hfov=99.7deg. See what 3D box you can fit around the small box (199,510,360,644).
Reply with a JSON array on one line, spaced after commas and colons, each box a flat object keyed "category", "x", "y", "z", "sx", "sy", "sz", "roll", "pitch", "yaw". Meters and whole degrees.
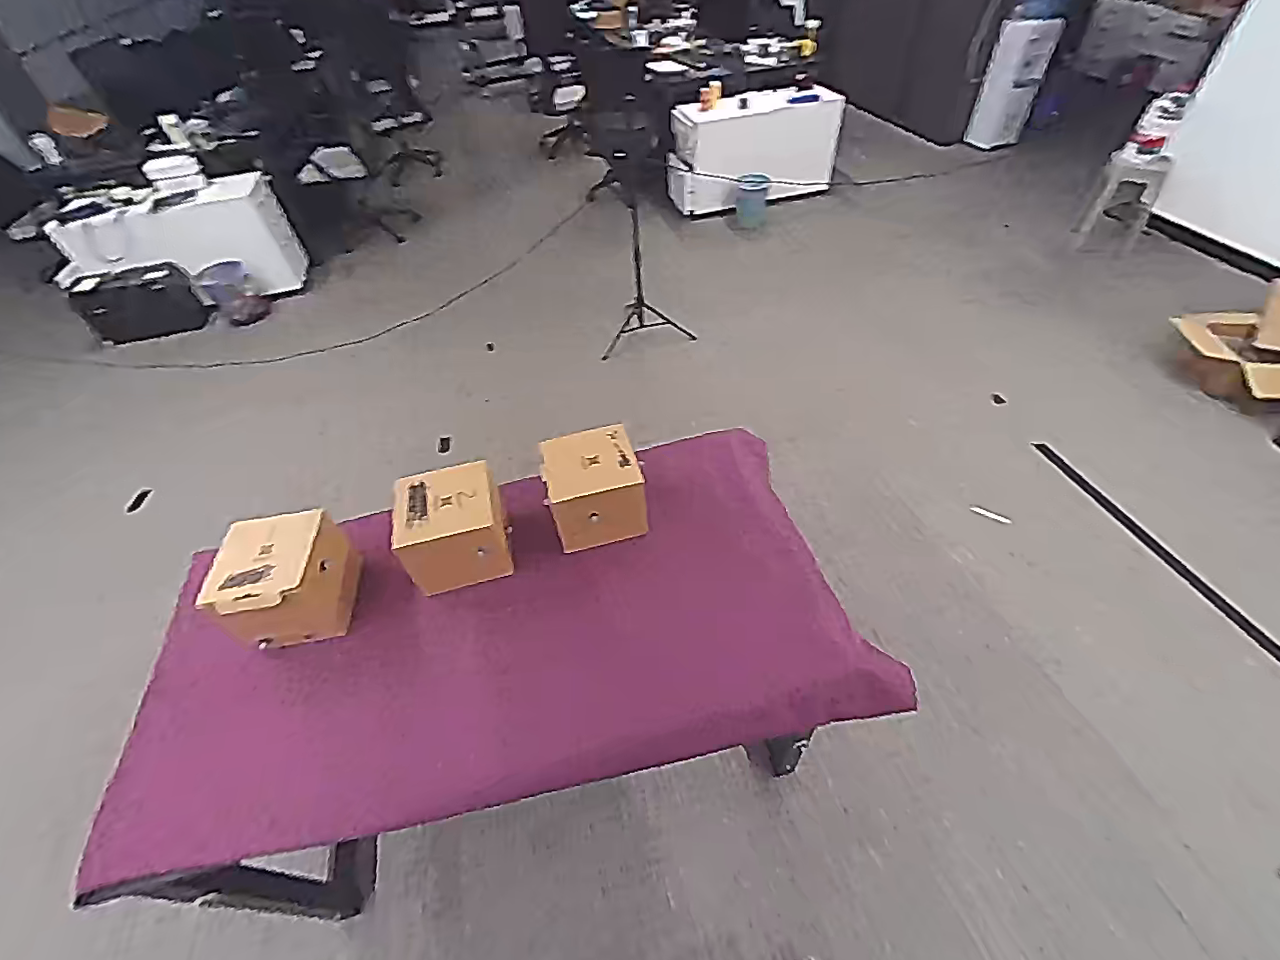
[{"category": "small box", "x": -0.637, "y": 0.183, "z": 0.985, "sx": 0.168, "sy": 0.176, "sz": 0.179, "roll": -9, "pitch": 48, "yaw": -4}]
